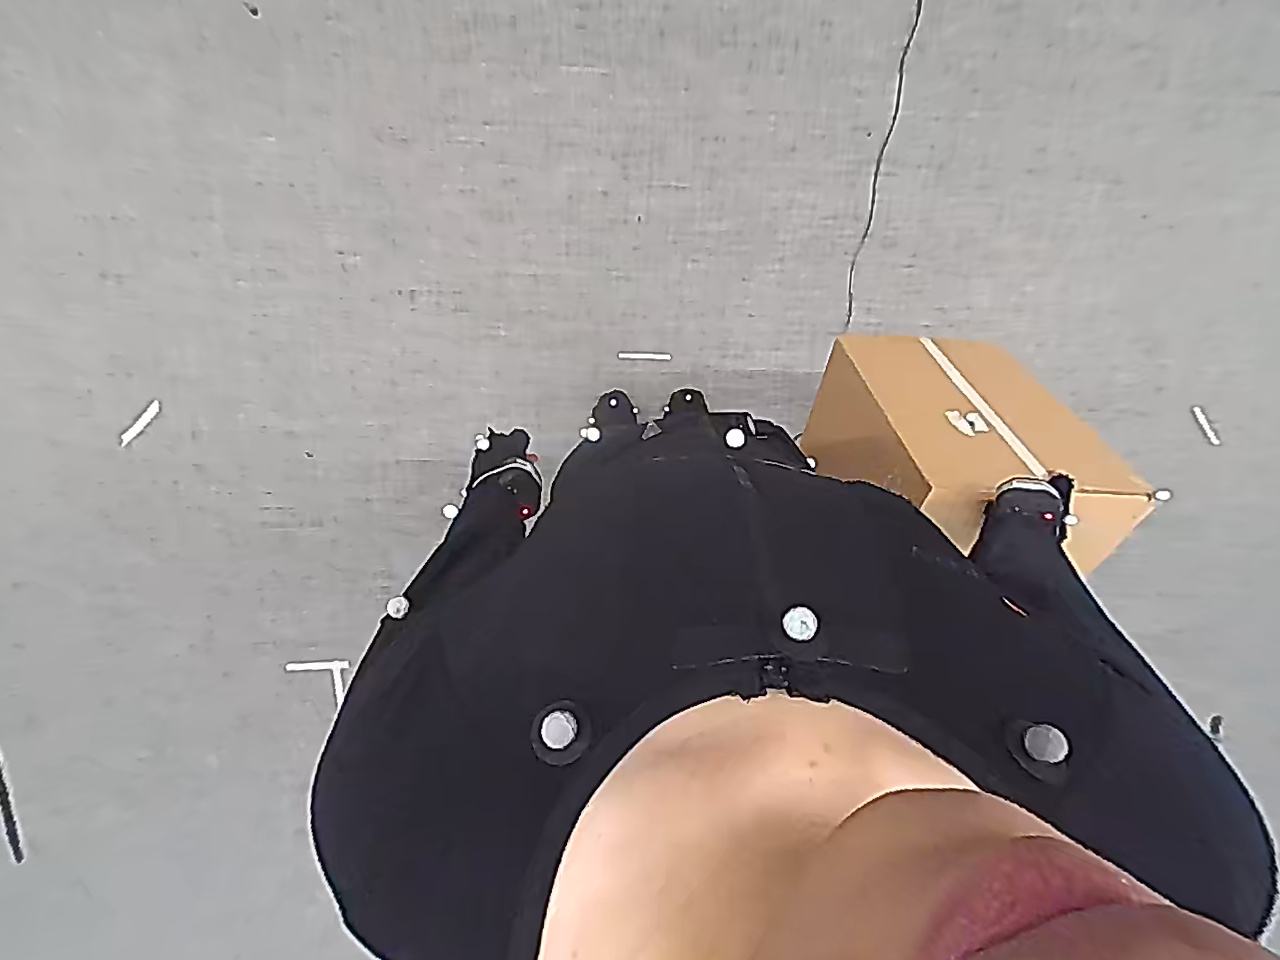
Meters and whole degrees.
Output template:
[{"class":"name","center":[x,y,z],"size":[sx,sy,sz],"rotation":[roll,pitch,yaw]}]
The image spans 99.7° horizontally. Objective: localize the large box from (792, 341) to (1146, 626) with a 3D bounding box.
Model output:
[{"class":"large box","center":[0.501,-0.001,0.948],"size":[0.320,0.408,0.320],"rotation":[2,134,-4]}]
